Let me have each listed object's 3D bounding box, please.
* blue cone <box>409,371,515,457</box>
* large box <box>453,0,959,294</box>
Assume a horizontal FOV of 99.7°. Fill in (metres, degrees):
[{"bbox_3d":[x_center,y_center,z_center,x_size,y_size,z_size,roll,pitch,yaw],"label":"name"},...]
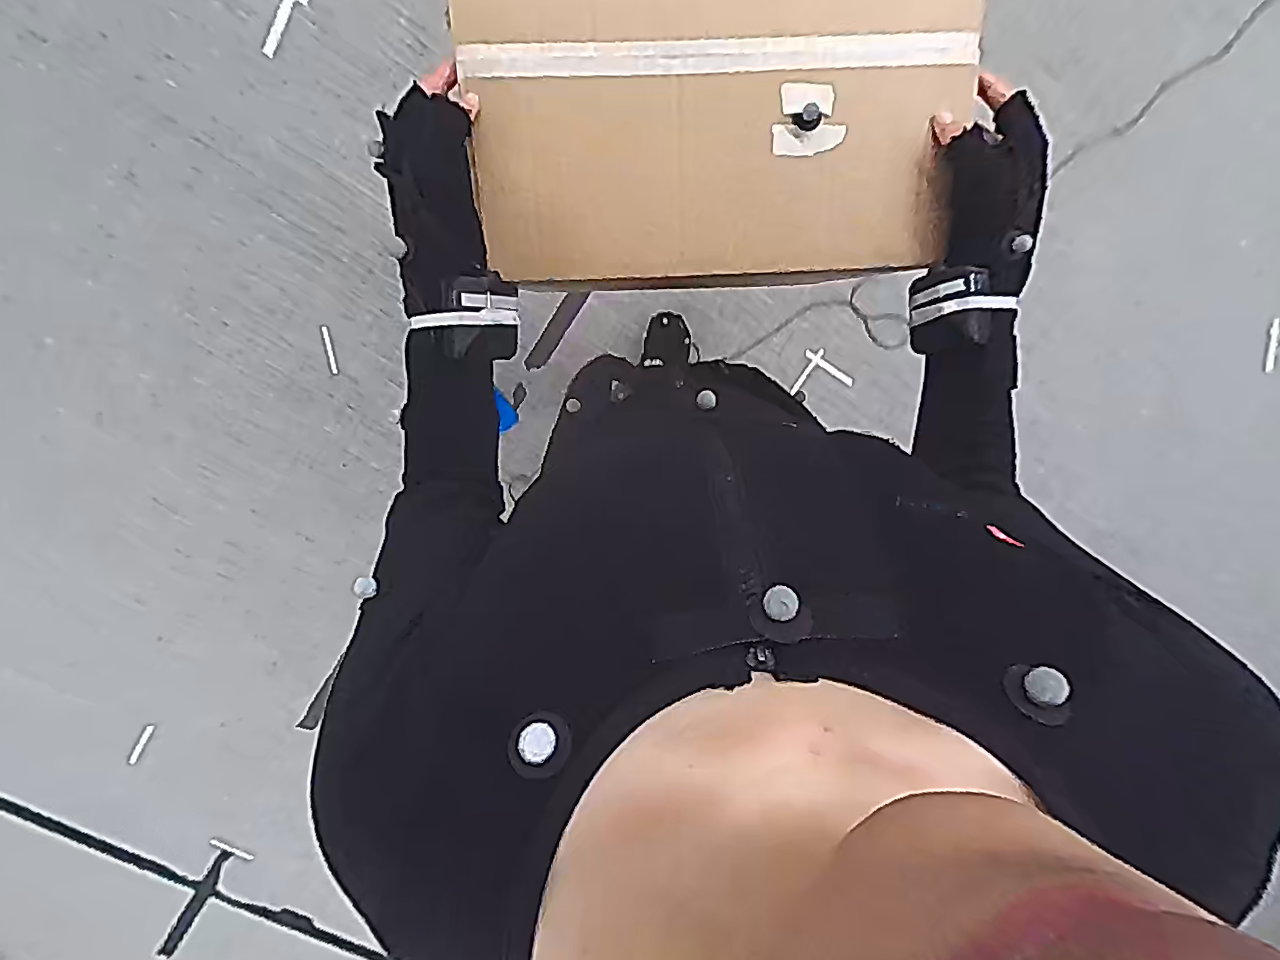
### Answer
[{"bbox_3d":[-0.447,-0.137,1.278,0.192,0.380,0.193,-34,101,7],"label":"blue cone"},{"bbox_3d":[0.047,-0.379,0.573,0.408,0.320,0.320,-4,107,-3],"label":"large box"}]
